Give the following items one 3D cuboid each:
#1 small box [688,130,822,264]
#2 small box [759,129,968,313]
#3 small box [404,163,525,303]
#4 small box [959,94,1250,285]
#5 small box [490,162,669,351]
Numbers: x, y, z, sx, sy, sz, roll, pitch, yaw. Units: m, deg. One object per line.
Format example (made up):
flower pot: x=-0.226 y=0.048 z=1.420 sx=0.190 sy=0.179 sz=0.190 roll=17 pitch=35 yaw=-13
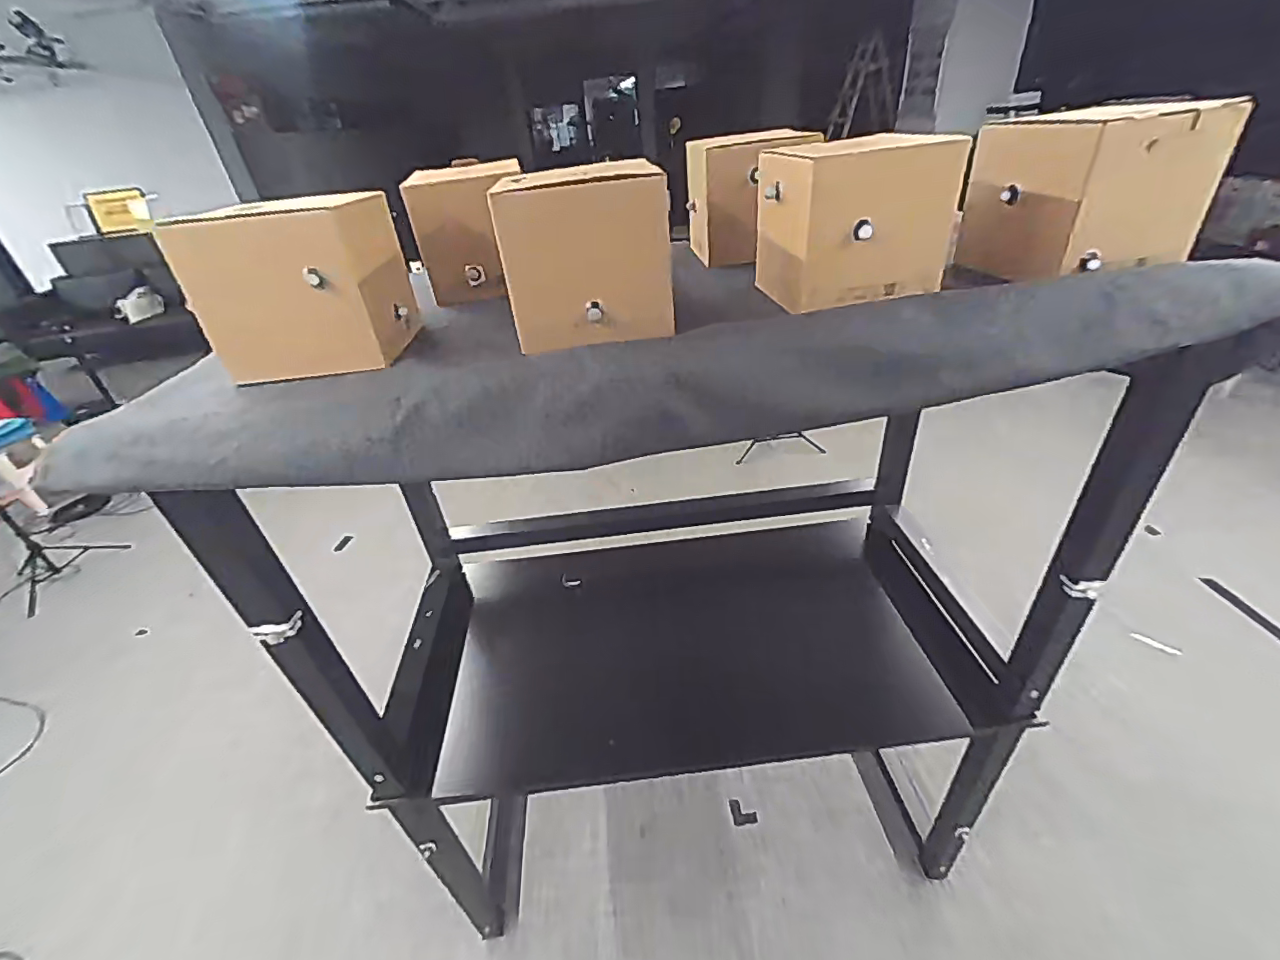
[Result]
small box: x=0.179 y=-0.459 z=0.878 sx=0.179 sy=0.176 sz=0.168 roll=-7 pitch=35 yaw=-1
small box: x=0.246 y=-0.305 z=0.643 sx=0.168 sy=0.176 sz=0.179 roll=-8 pitch=33 yaw=-2
small box: x=-0.248 y=-0.392 z=0.854 sx=0.168 sy=0.176 sz=0.179 roll=-12 pitch=35 yaw=-6
small box: x=0.519 y=-0.338 z=0.640 sx=0.168 sy=0.176 sz=0.179 roll=-11 pitch=33 yaw=-5
small box: x=-0.061 y=-0.263 z=0.633 sx=0.179 sy=0.176 sz=0.168 roll=-7 pitch=33 yaw=-2
